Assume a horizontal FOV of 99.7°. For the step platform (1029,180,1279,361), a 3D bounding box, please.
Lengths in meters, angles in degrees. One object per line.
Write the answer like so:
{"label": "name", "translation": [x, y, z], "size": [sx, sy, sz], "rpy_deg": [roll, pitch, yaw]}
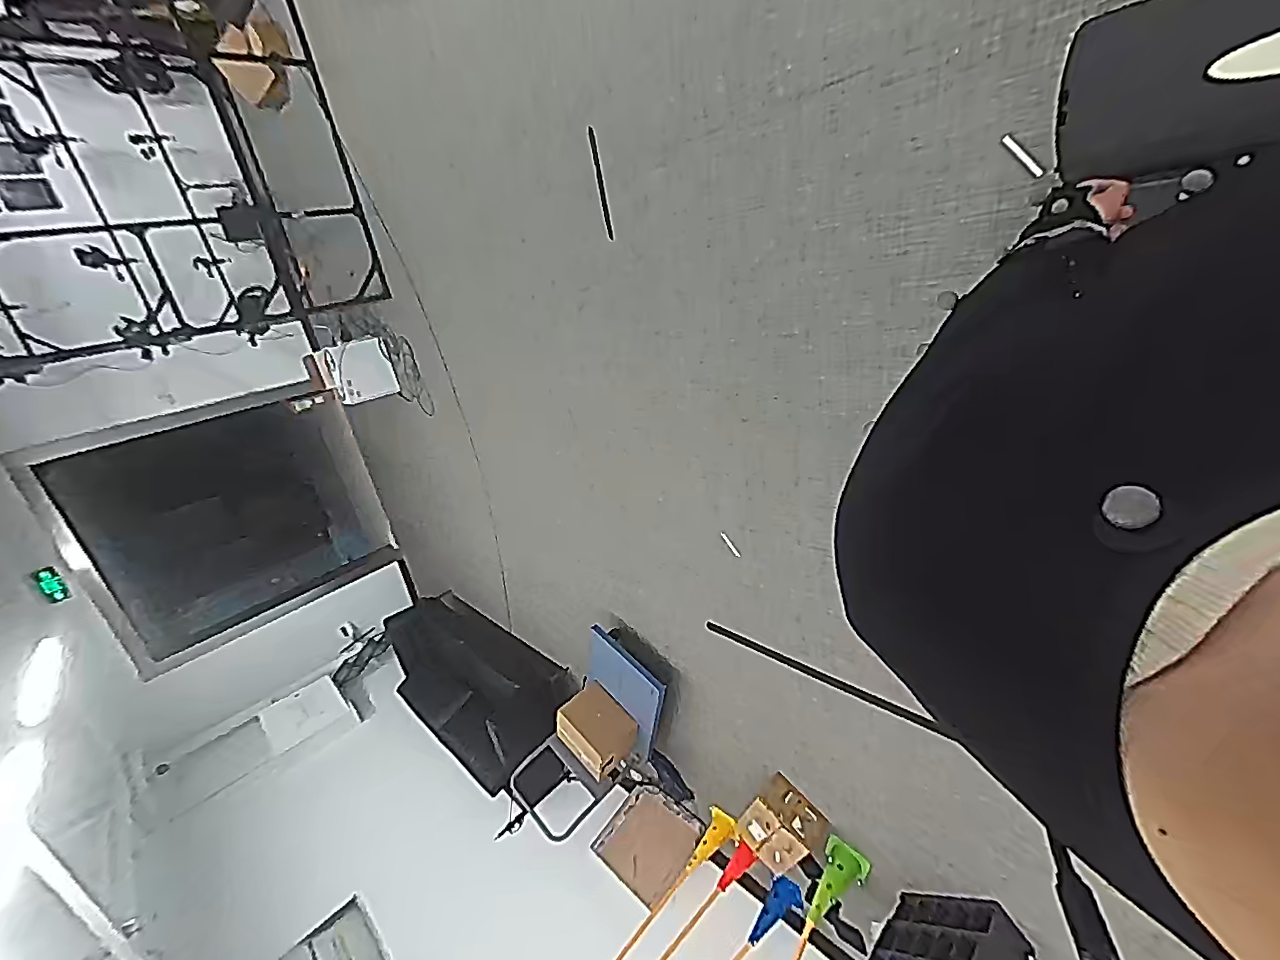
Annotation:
{"label": "step platform", "translation": [1.097, -0.364, 0.934], "size": [0.684, 0.204, 0.286], "rpy_deg": [20, 125, 44]}
